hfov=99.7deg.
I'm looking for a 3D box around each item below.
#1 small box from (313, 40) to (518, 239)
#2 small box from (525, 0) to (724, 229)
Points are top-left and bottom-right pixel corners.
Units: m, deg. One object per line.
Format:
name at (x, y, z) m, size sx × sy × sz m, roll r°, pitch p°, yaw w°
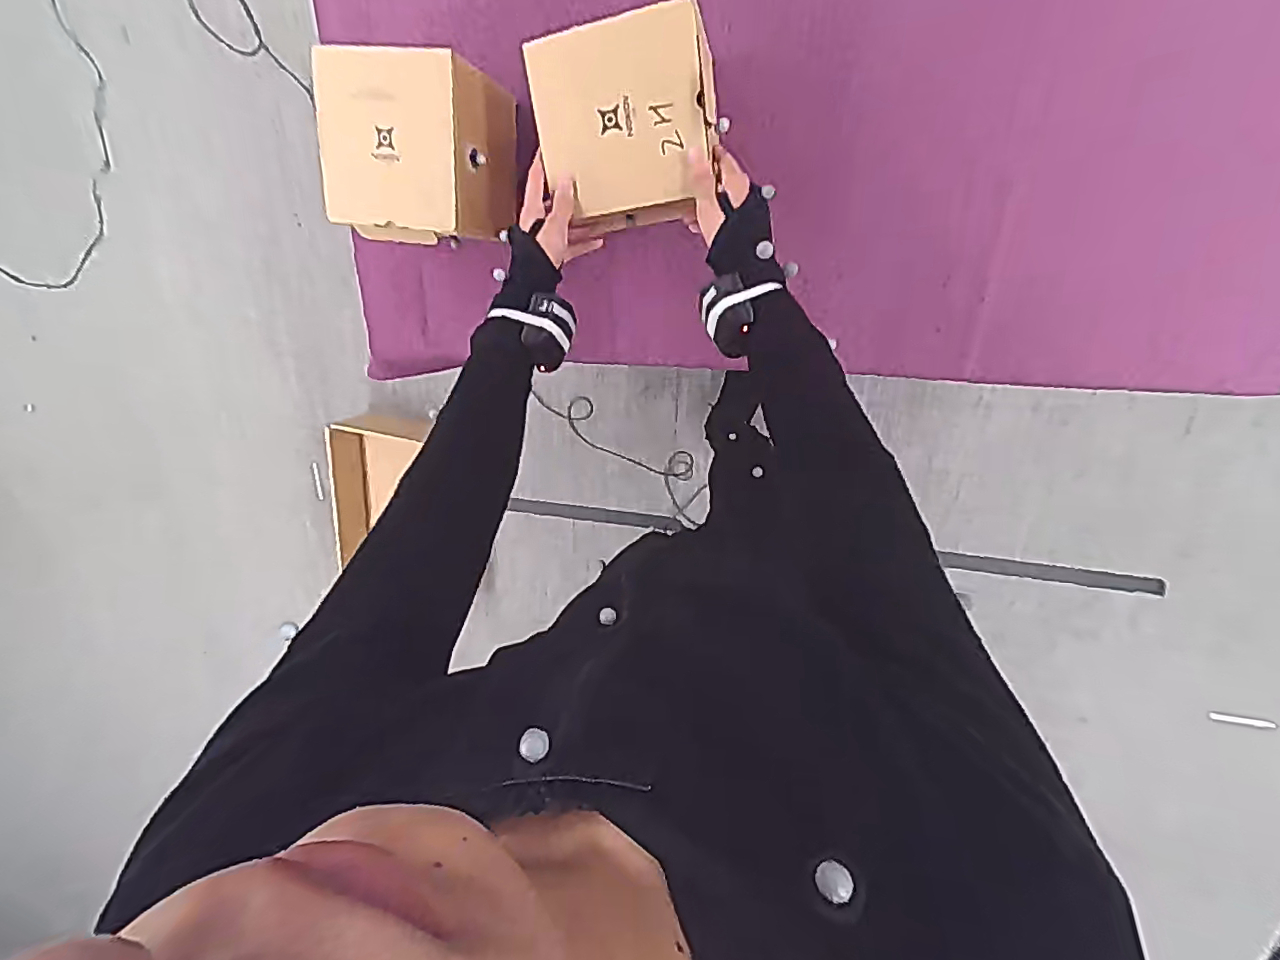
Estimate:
small box at (-0.259, -0.400, 0.664) m, size 0.168 × 0.176 × 0.179 m, roll 10°, pitch 112°, yaw 8°
small box at (-0.004, -0.389, 0.609) m, size 0.179 × 0.176 × 0.168 m, roll -3°, pitch 110°, yaw 14°
